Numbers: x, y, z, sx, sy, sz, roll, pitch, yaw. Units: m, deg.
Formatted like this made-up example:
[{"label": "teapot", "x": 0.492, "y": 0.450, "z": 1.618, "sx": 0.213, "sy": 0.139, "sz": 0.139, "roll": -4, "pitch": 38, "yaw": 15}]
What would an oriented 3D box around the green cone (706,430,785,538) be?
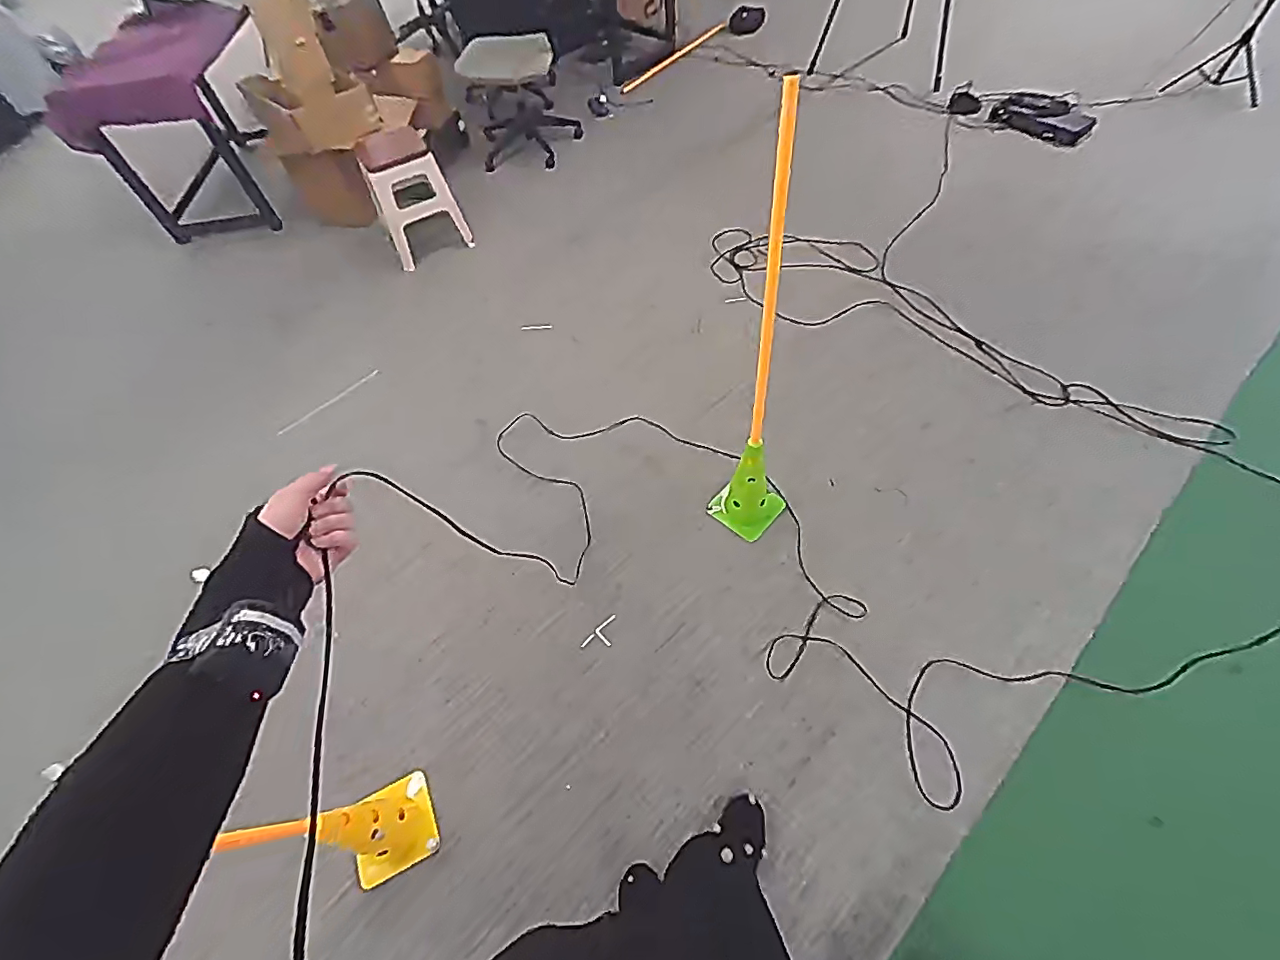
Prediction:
[{"label": "green cone", "x": 0.337, "y": -0.019, "z": 1.640, "sx": 0.200, "sy": 0.368, "sz": 0.202, "roll": 36, "pitch": 65, "yaw": 25}]
